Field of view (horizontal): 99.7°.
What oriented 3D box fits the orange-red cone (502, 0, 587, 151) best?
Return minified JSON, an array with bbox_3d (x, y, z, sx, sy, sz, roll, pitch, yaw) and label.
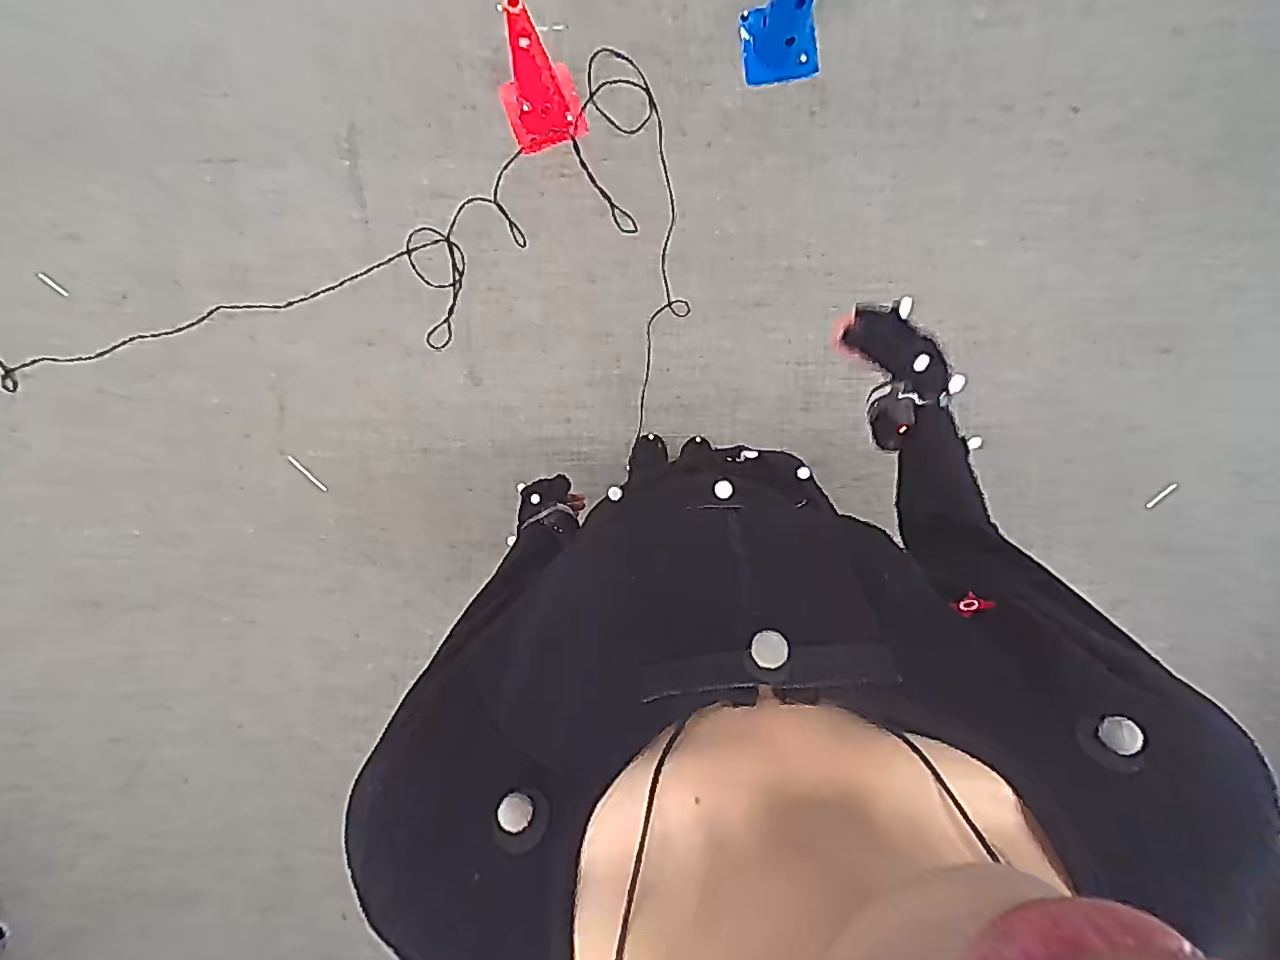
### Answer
[{"bbox_3d":[-0.262,-1.009,1.300,0.198,0.360,0.199,-19,90,1],"label":"orange-red cone"}]
